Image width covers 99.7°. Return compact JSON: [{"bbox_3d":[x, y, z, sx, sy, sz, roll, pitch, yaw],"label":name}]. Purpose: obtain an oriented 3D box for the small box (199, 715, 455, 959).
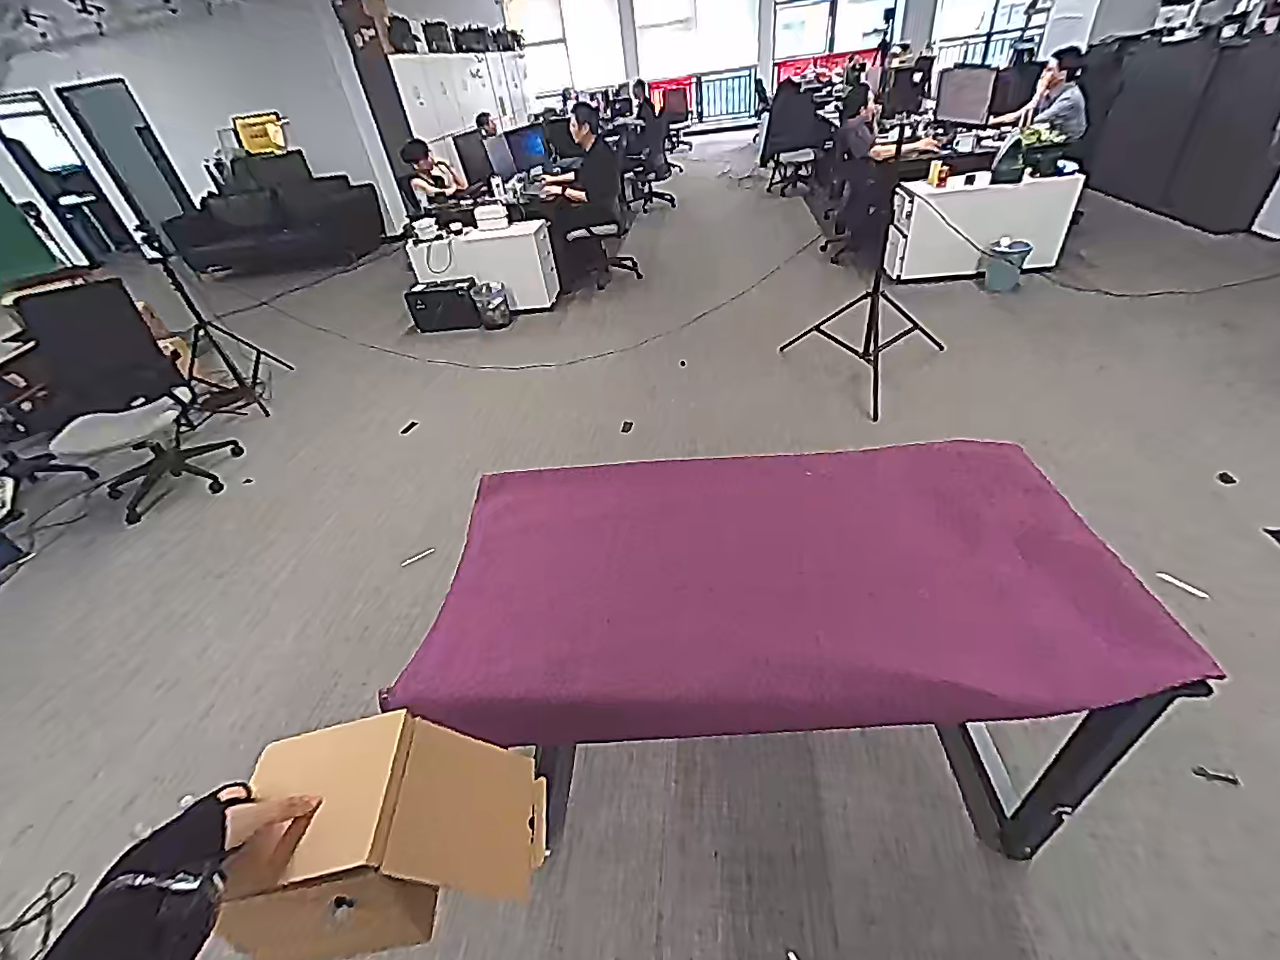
[{"bbox_3d":[-0.326,0.400,0.614,0.179,0.176,0.168,-8,32,-3],"label":"small box"}]
